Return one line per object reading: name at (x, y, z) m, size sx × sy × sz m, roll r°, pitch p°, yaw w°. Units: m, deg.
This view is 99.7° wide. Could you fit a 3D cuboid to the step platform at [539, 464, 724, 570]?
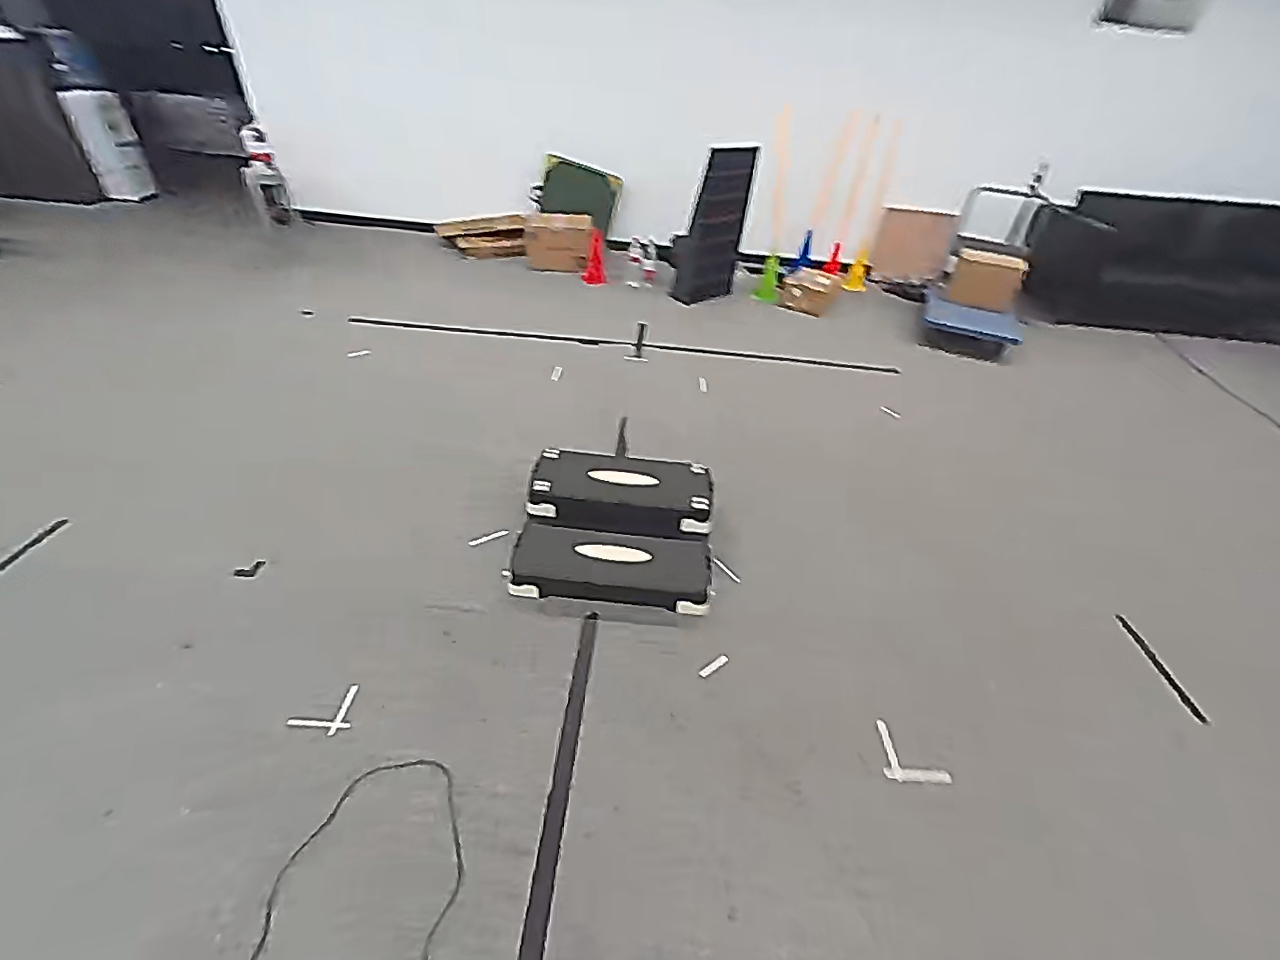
step platform at (-0.026, 0.130, 2.038) m, size 0.684 × 0.204 × 0.286 m, roll 9°, pitch 37°, yaw 4°
